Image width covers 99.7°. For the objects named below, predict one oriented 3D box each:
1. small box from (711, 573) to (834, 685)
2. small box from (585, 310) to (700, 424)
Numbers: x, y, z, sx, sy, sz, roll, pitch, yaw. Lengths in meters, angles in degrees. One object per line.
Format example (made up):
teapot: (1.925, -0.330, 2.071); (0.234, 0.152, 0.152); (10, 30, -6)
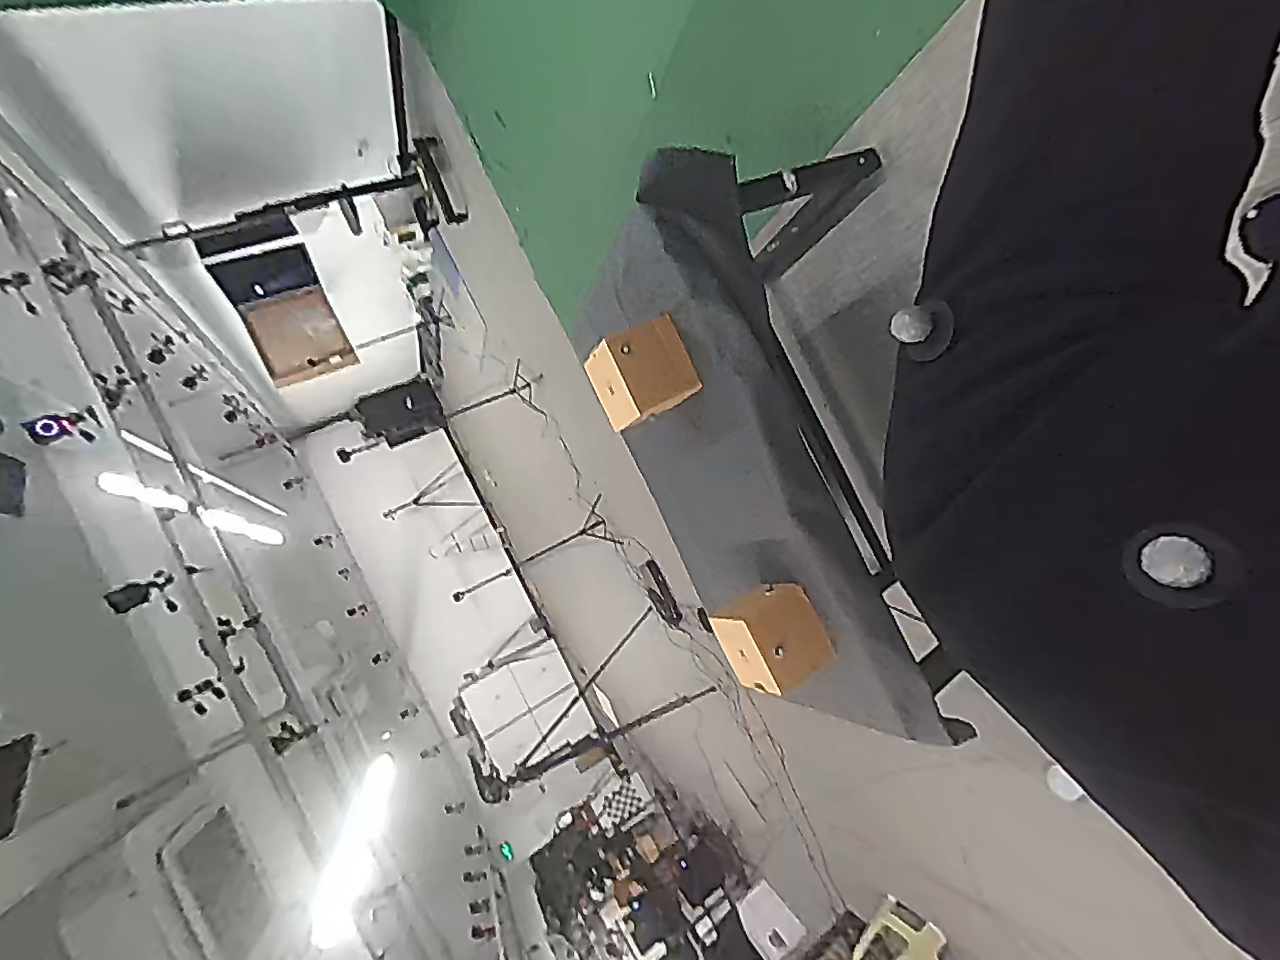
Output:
small box: (0.295, 0.325, 1.206); (0.179, 0.176, 0.168); (63, 157, 2)
small box: (0.005, -0.249, 1.200); (0.179, 0.176, 0.168); (64, 158, -2)
